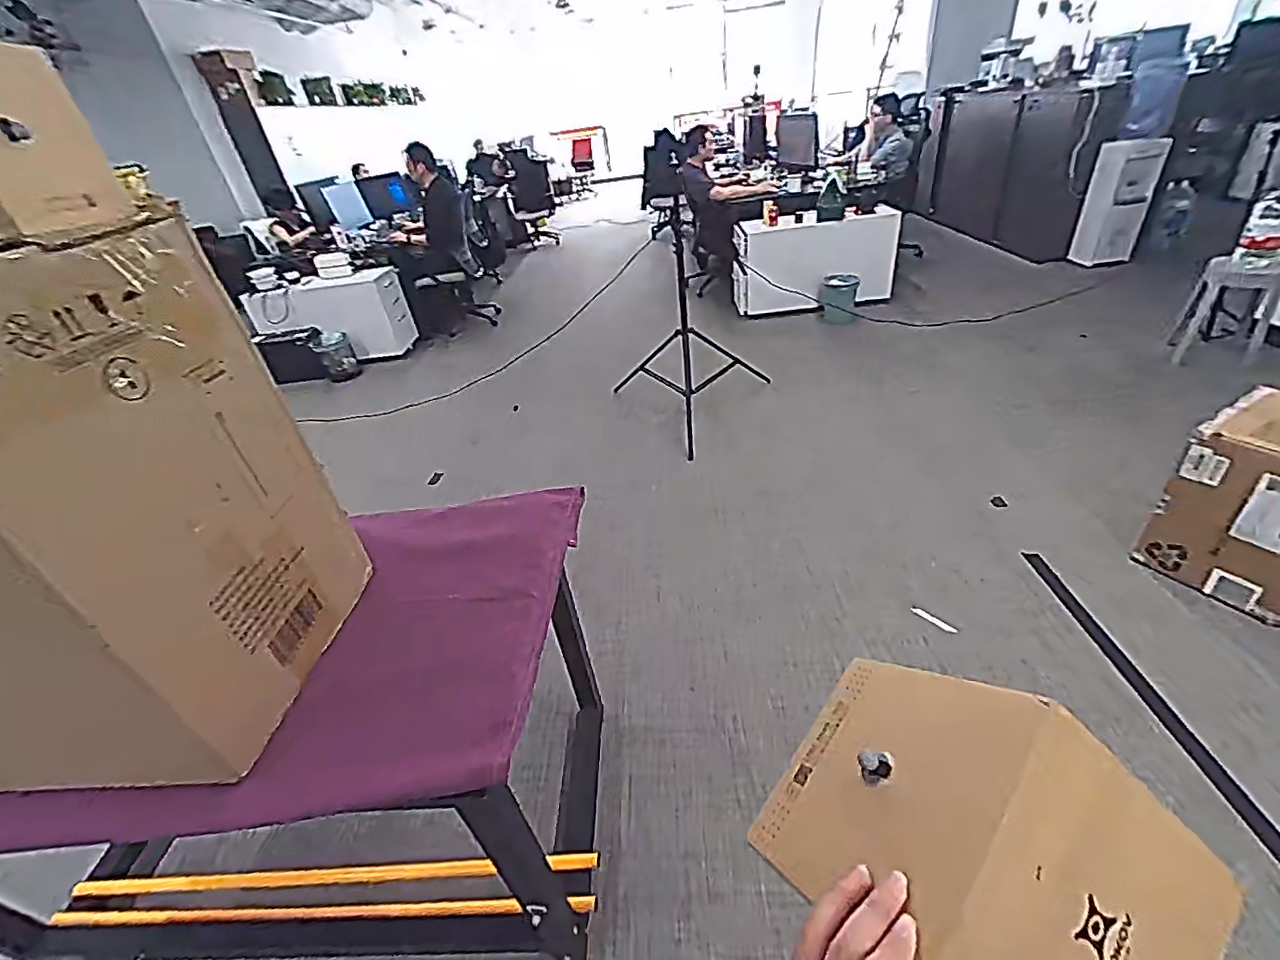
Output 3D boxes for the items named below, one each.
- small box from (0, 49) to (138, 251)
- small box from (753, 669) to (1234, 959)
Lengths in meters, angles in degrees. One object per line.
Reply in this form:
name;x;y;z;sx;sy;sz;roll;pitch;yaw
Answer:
small box;-0.707;-0.336;0.568;0.179;0.176;0.168;-9;34;2
small box;0.209;0.246;0.355;0.168;0.179;0.176;-49;7;-18
